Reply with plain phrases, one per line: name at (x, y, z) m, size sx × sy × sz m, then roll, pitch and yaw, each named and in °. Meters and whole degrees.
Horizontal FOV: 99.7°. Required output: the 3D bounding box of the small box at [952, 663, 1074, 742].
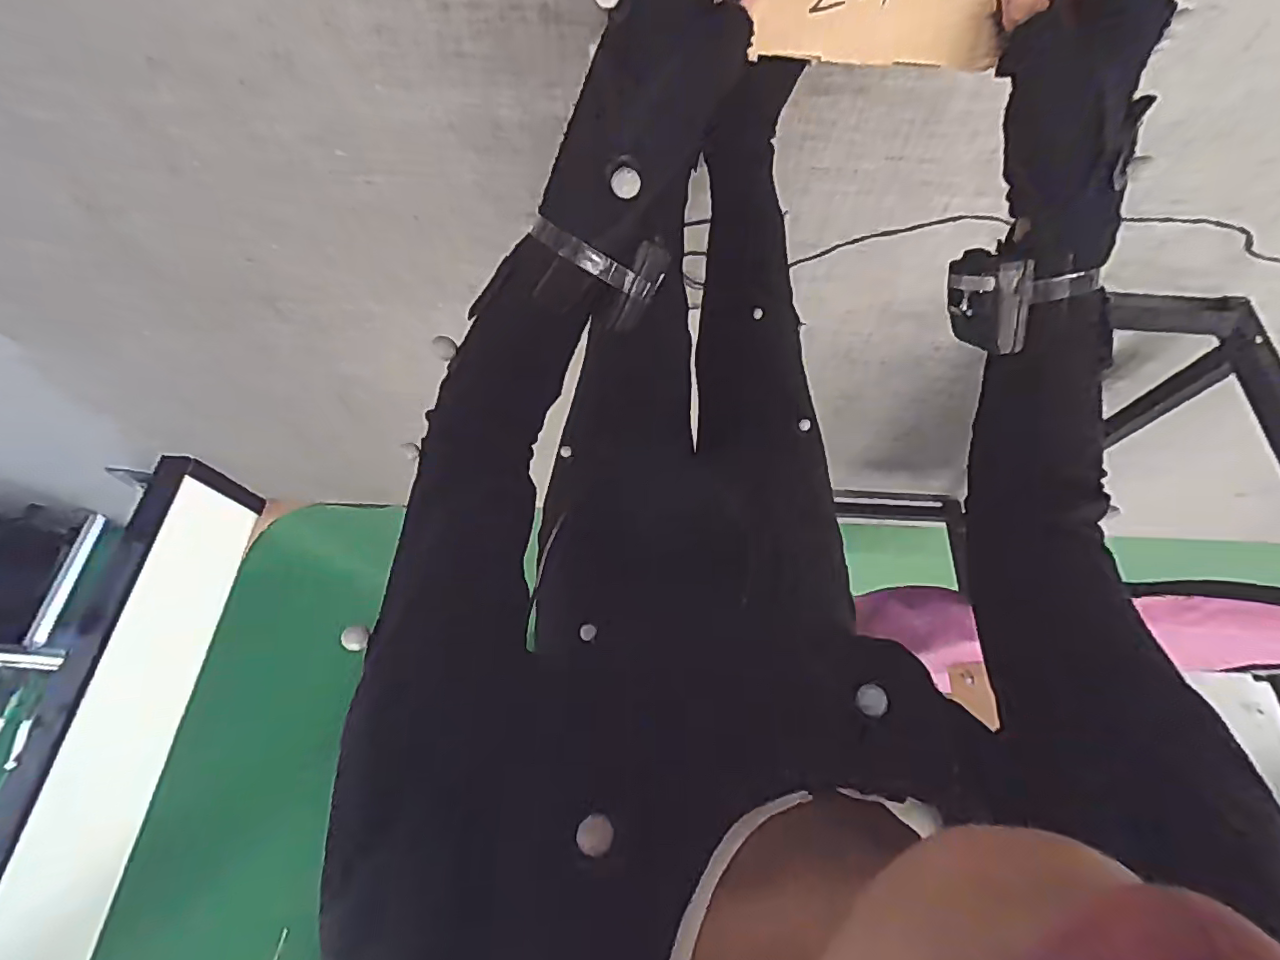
small box at (0.926, 0.559, 1.359) m, size 0.179 × 0.176 × 0.168 m, roll 6°, pitch 154°, yaw -2°

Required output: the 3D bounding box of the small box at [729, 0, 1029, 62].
small box at (0.140, -0.365, 0.275) m, size 0.168 × 0.176 × 0.179 m, roll 4°, pitch 160°, yaw -1°
